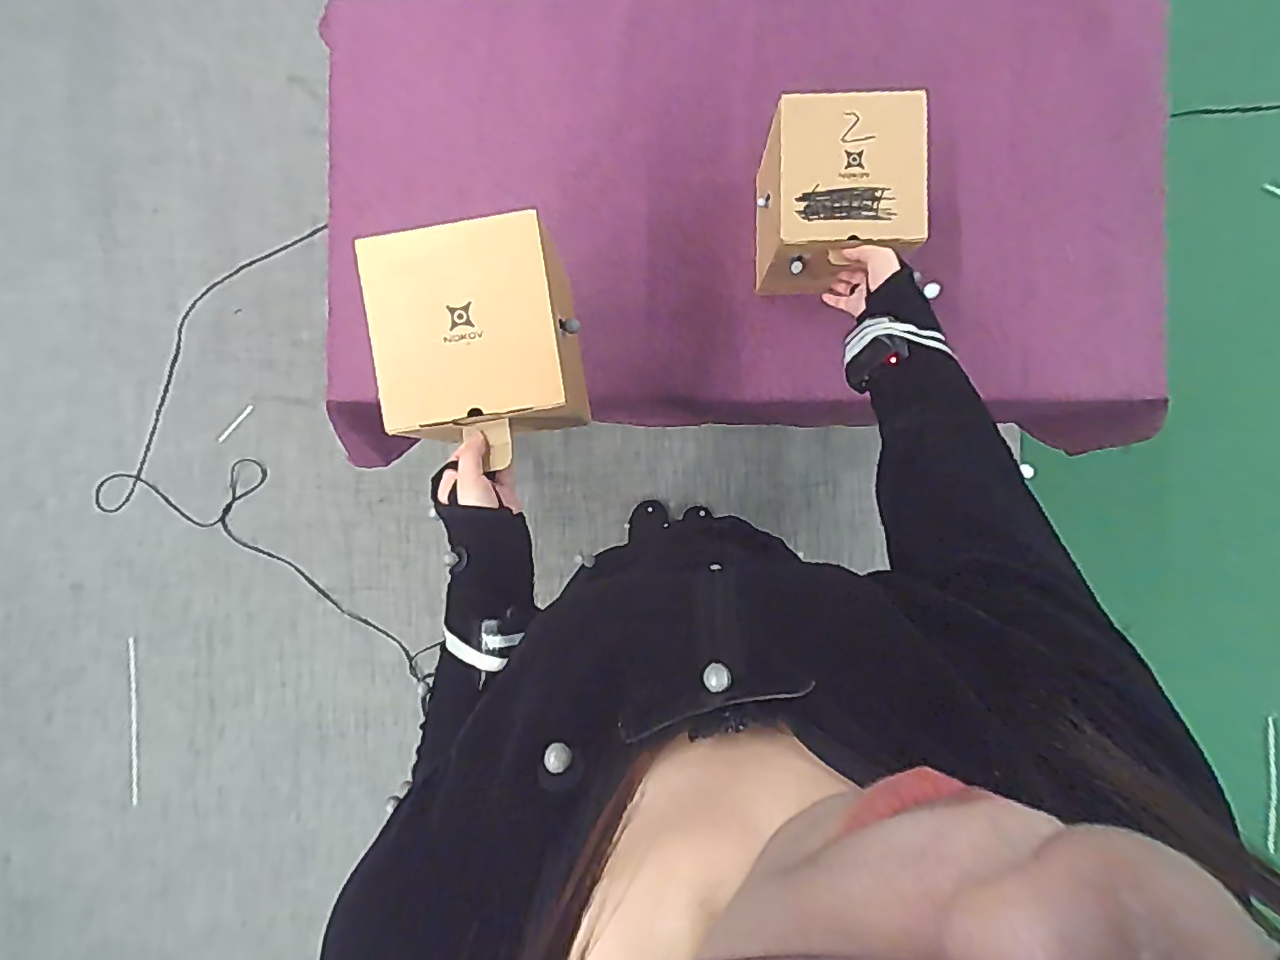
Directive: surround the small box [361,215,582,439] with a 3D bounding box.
[{"bbox_3d":[-0.161,-0.145,0.571,0.168,0.176,0.179,-9,91,2],"label":"small box"}]
